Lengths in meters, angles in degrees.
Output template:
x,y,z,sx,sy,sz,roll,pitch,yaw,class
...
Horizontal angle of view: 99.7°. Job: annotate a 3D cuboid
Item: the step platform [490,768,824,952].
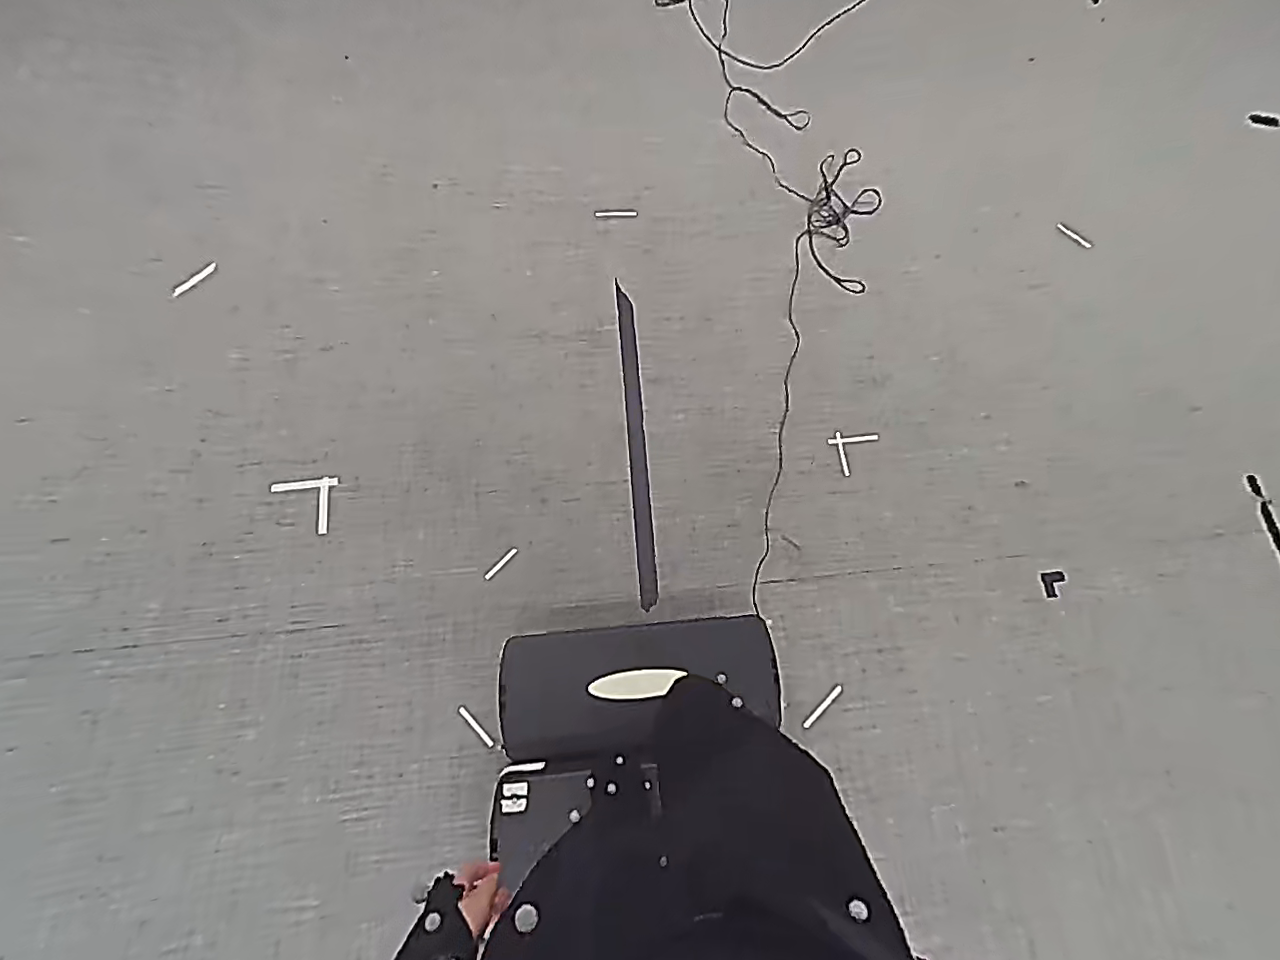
x,y,z,sx,sy,sz,roll,pitch,yaw,class
0.034,0.795,1.155,0.684,0.204,0.286,-1,69,-2,step platform
